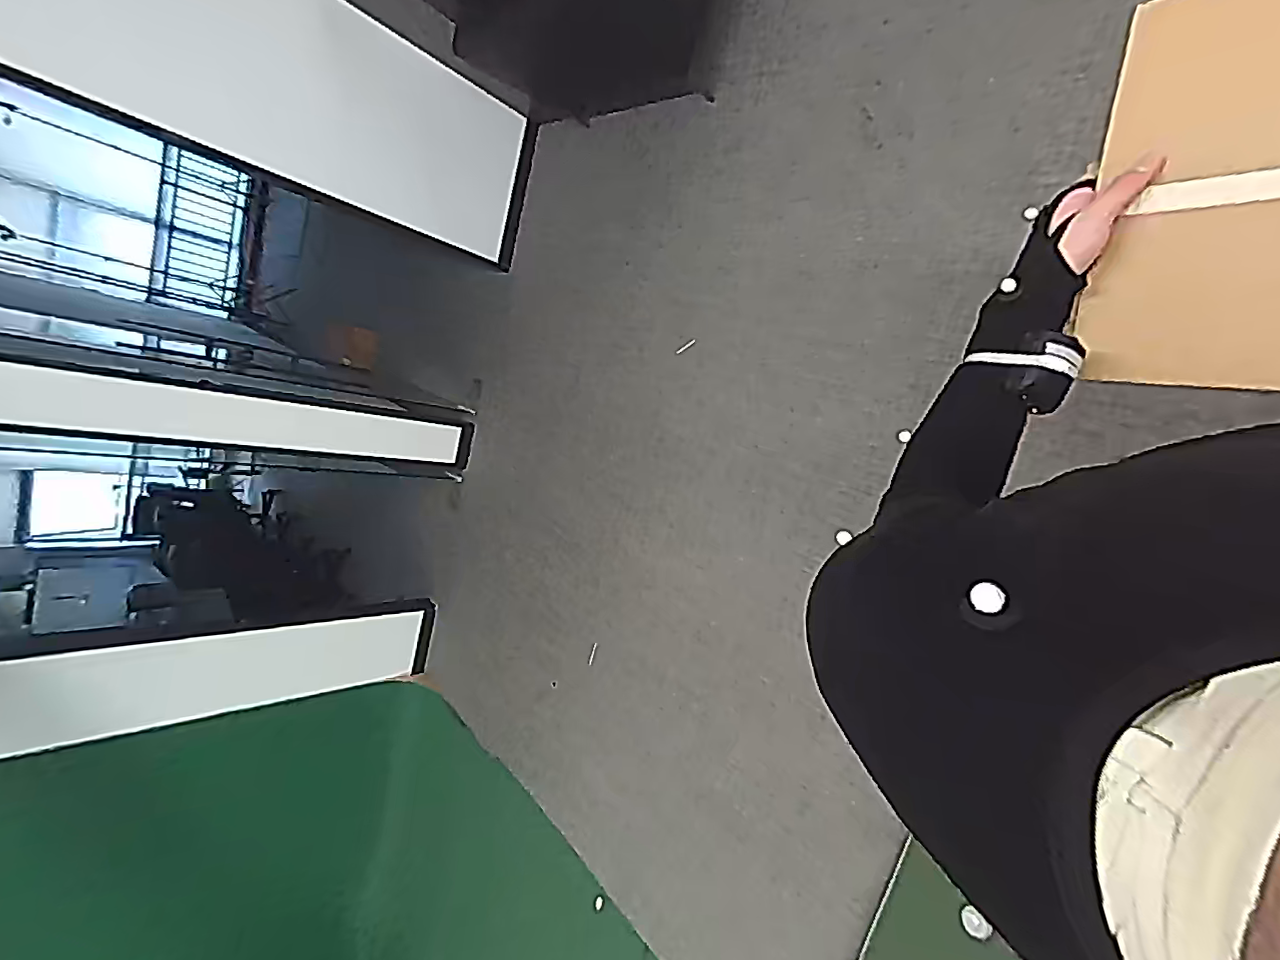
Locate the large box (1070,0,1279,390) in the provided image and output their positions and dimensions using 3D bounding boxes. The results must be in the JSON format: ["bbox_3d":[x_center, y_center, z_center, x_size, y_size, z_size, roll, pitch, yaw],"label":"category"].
[{"bbox_3d":[0.670,-0.234,0.464,0.408,0.320,0.320,15,109,45],"label":"large box"}]
